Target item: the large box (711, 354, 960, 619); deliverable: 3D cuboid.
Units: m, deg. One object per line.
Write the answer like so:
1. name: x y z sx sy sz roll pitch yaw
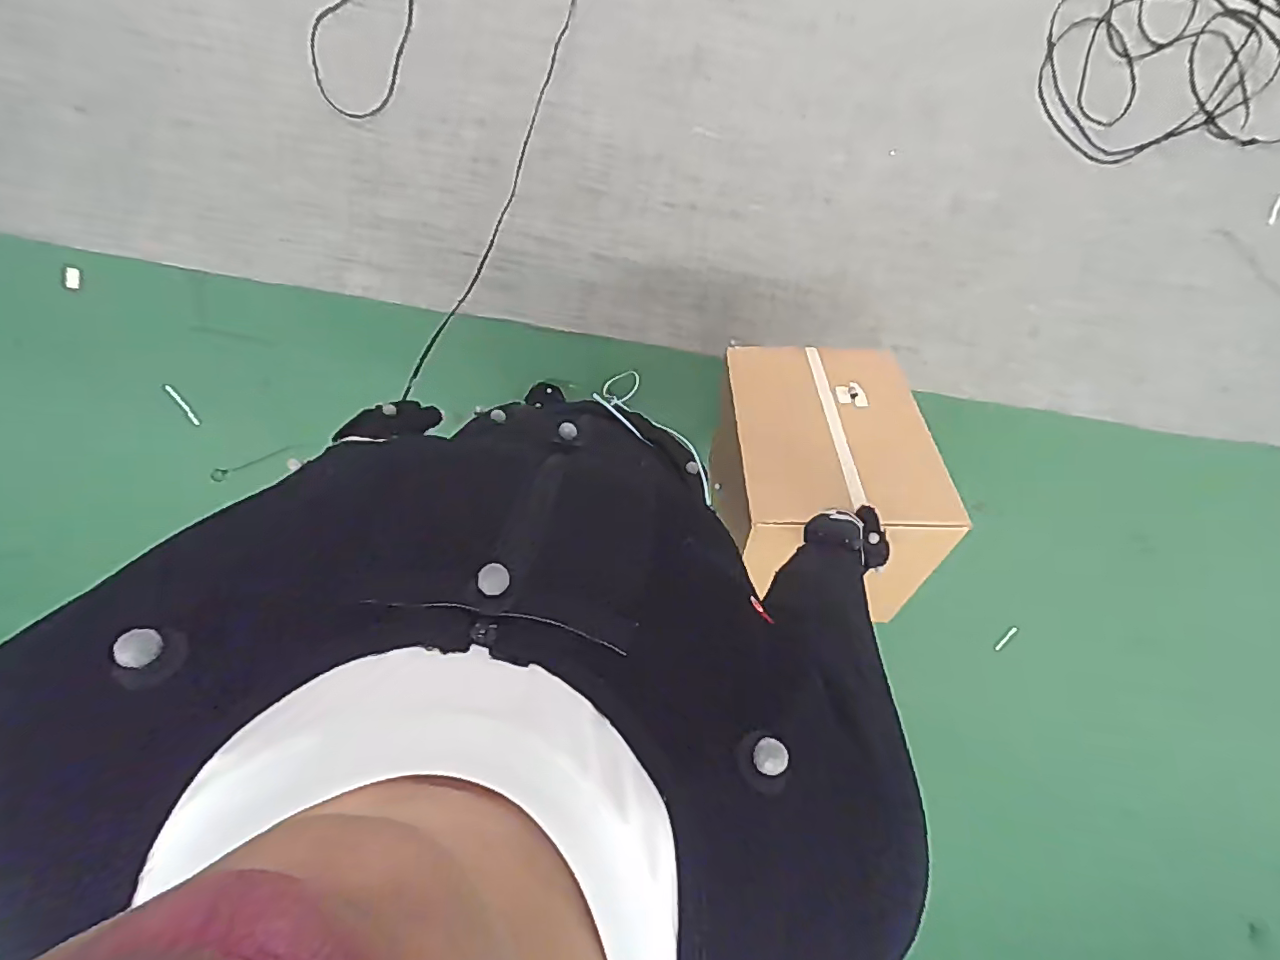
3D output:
1. large box: 0.314 0.014 1.019 0.320 0.408 0.320 2 140 -1
